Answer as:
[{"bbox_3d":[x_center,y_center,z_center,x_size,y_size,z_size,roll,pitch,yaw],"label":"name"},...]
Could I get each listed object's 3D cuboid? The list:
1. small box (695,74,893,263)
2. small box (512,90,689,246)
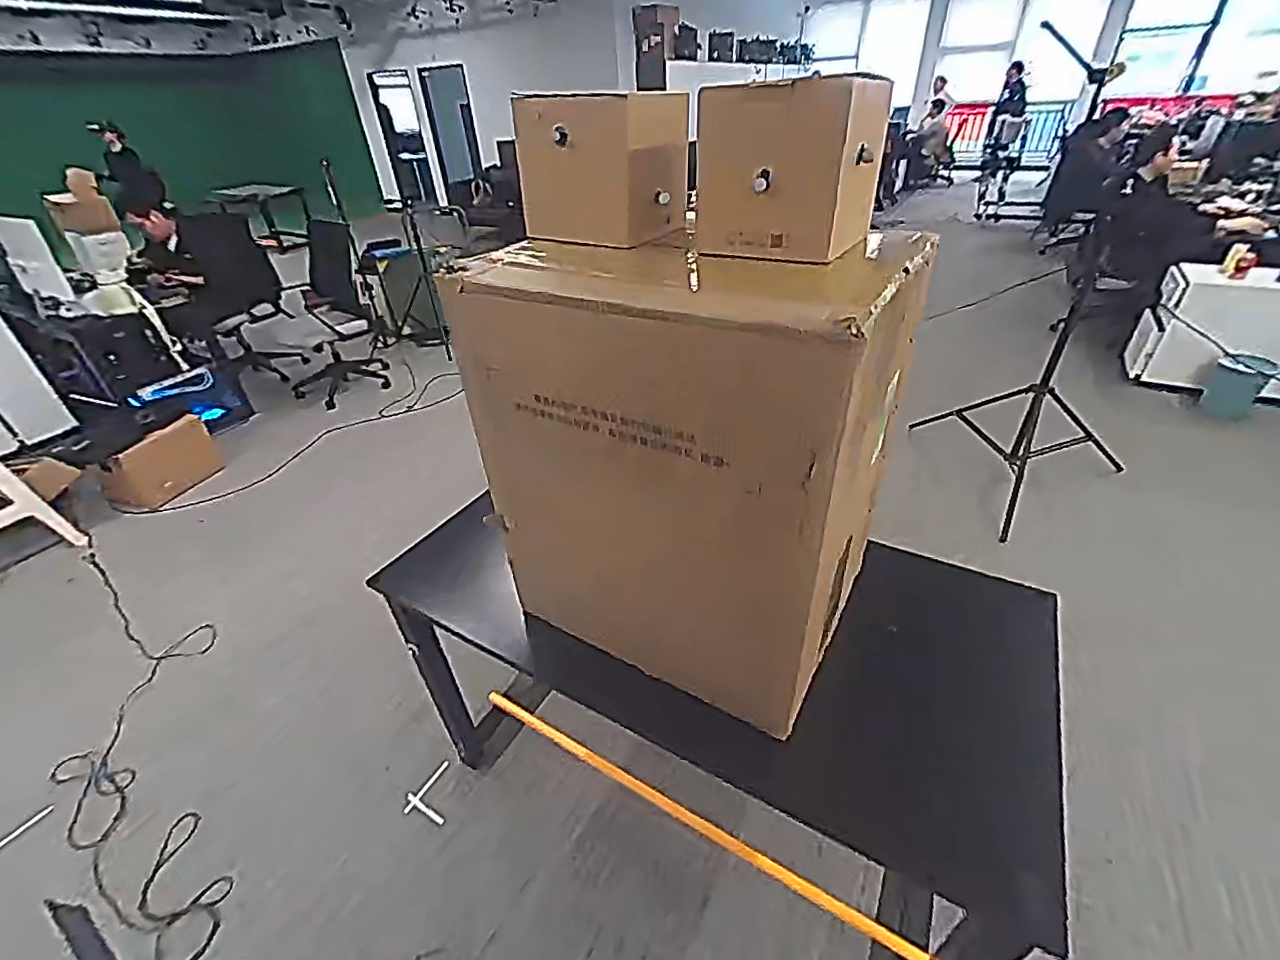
[{"bbox_3d":[0.177,-0.361,0.633,0.168,0.176,0.179,17,39,28],"label":"small box"},{"bbox_3d":[-0.048,-0.427,0.743,0.179,0.176,0.168,18,40,25],"label":"small box"}]
